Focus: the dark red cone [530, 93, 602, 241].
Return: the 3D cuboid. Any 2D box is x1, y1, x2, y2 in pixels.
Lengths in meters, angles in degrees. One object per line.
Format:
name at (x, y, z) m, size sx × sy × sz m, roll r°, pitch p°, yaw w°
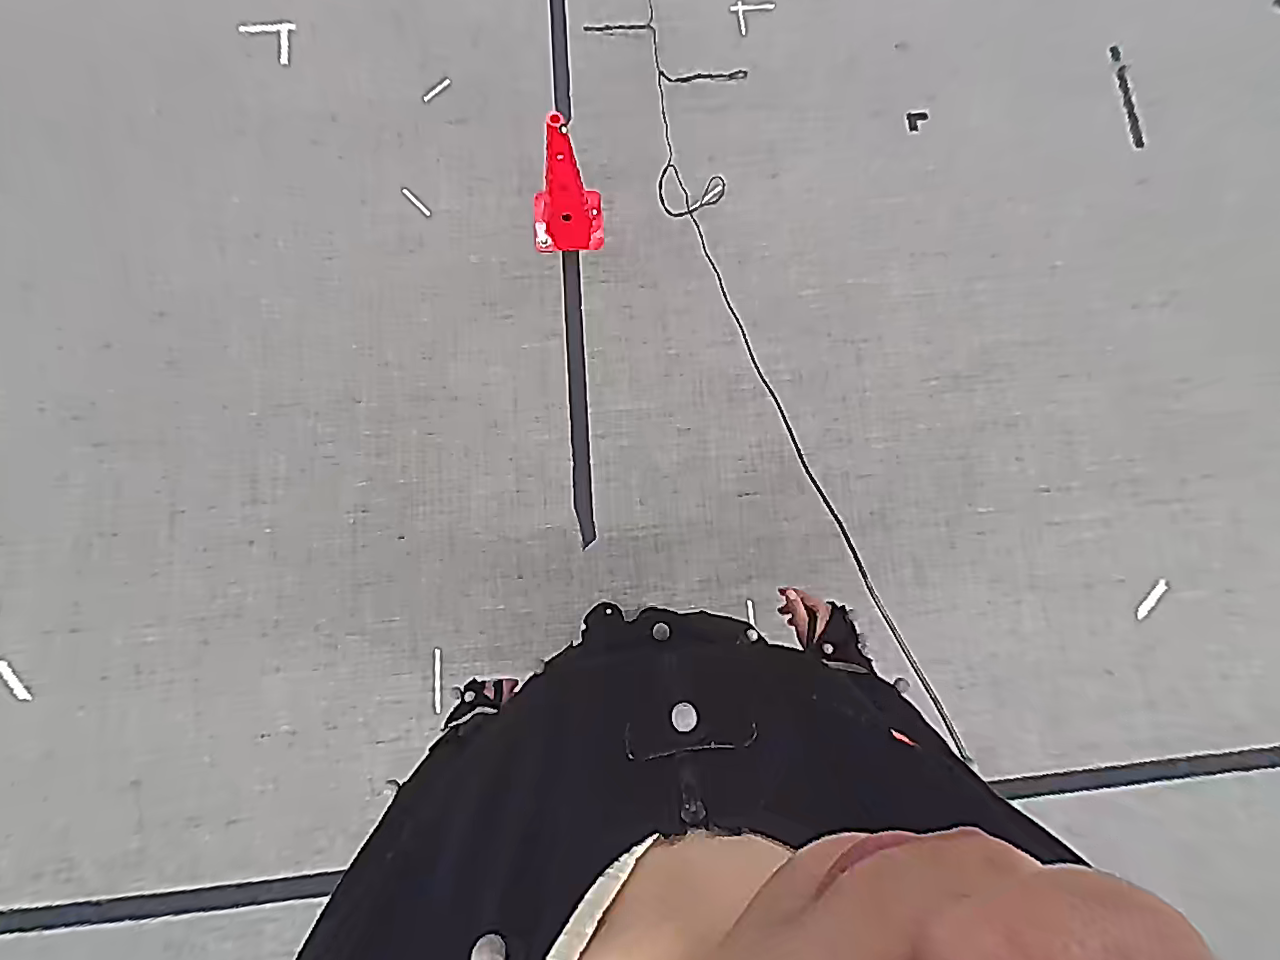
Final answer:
dark red cone at (-0.206, -0.814, 1.410) m, size 0.201 × 0.394 × 0.202 m, roll -5°, pitch 78°, yaw -5°
